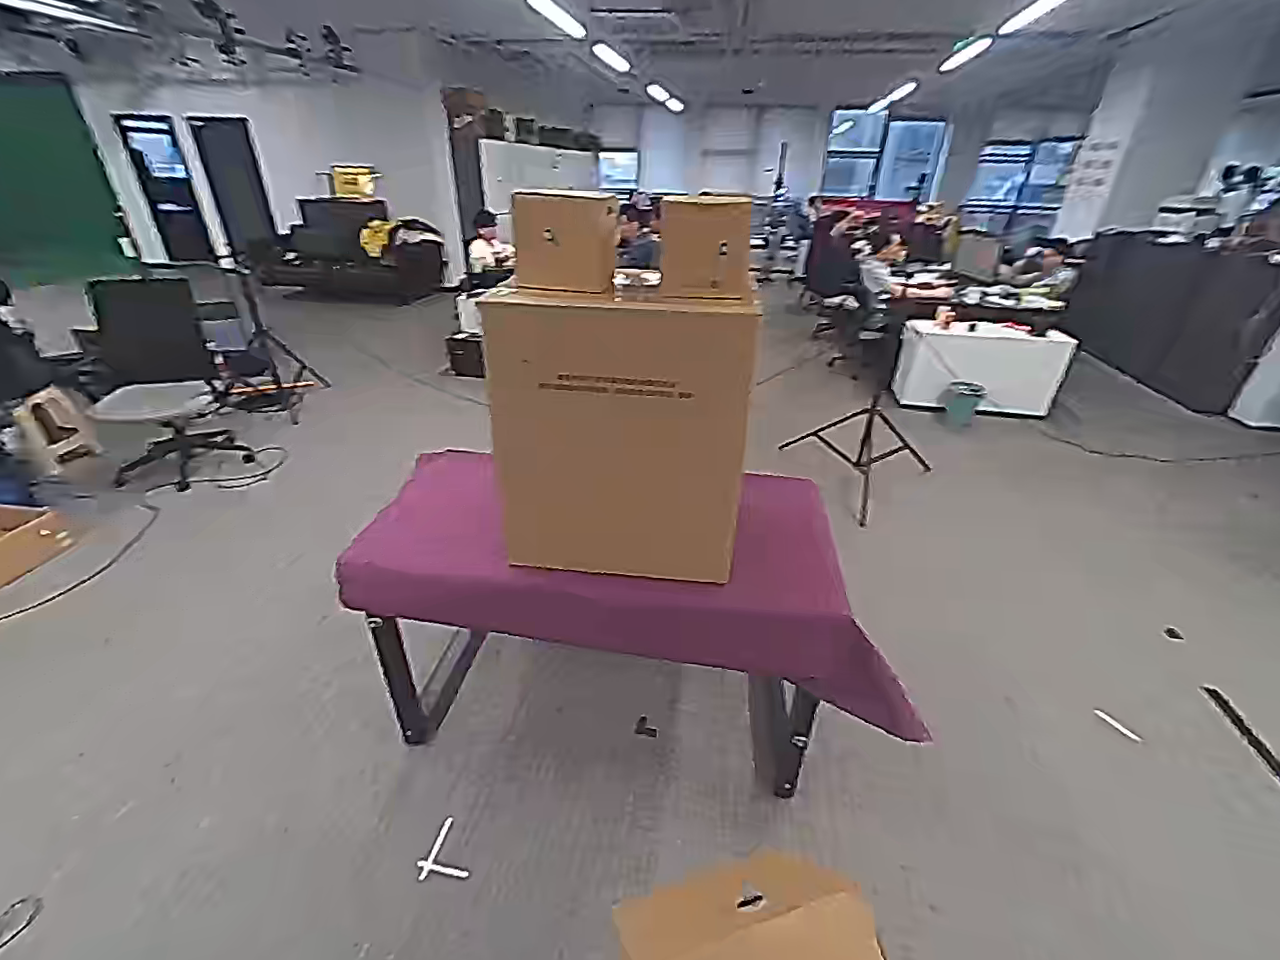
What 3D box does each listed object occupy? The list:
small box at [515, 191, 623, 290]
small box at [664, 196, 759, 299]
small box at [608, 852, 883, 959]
[{"bbox_3d":[-0.134,-0.483,1.086,0.179,0.176,0.168,6,31,7],"label":"small box"},{"bbox_3d":[0.136,-0.458,1.060,0.168,0.176,0.179,4,29,4],"label":"small box"},{"bbox_3d":[0.084,0.417,0.421,0.179,0.176,0.168,-9,64,-15],"label":"small box"}]
